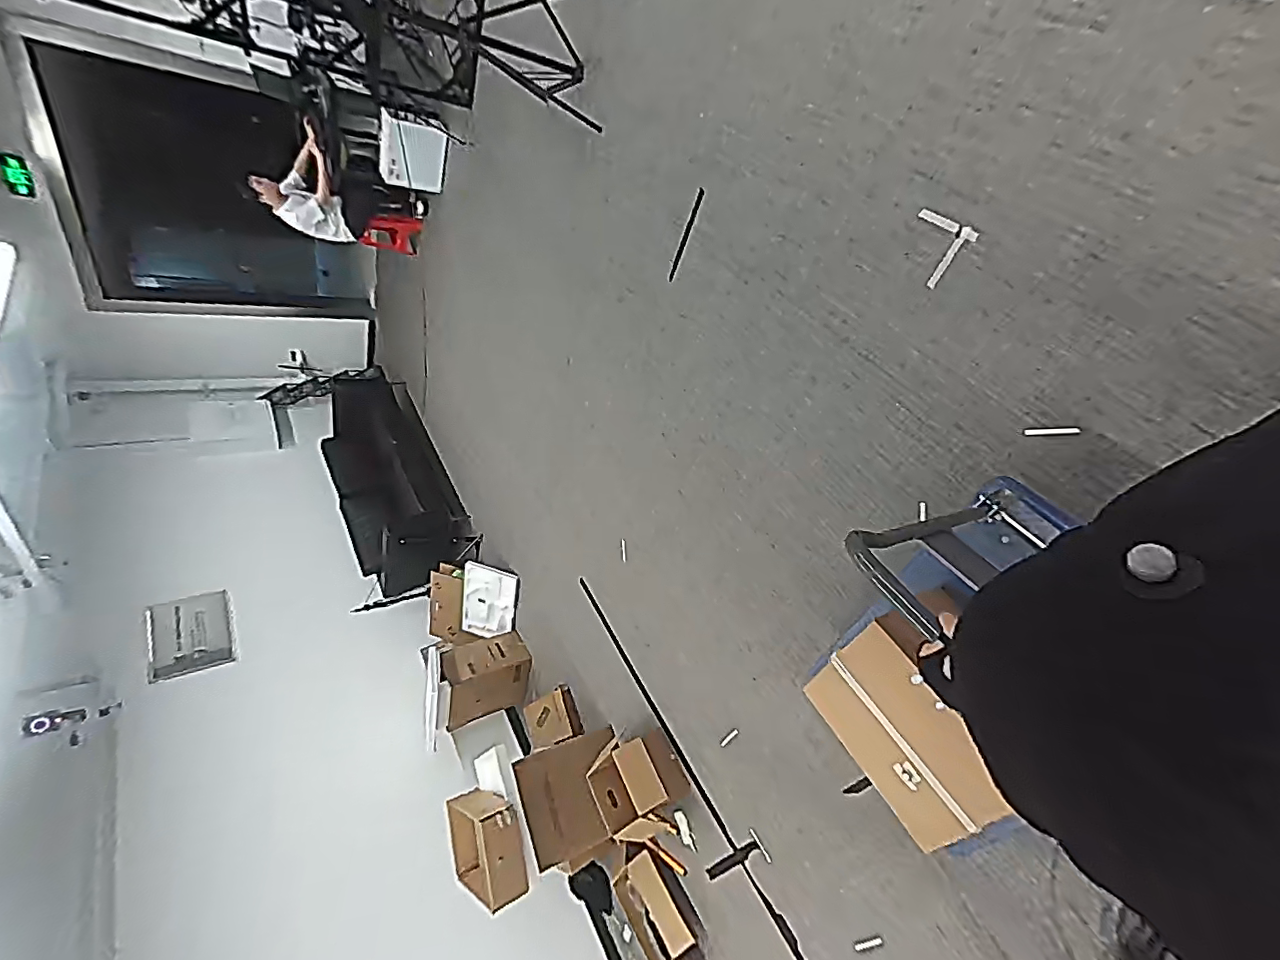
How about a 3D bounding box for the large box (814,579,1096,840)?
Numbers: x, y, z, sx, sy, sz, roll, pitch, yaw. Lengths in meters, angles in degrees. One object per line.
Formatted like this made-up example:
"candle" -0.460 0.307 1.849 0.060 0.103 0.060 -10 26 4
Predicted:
"large box" 0.701 0.503 1.249 0.408 0.320 0.320 53 137 32
